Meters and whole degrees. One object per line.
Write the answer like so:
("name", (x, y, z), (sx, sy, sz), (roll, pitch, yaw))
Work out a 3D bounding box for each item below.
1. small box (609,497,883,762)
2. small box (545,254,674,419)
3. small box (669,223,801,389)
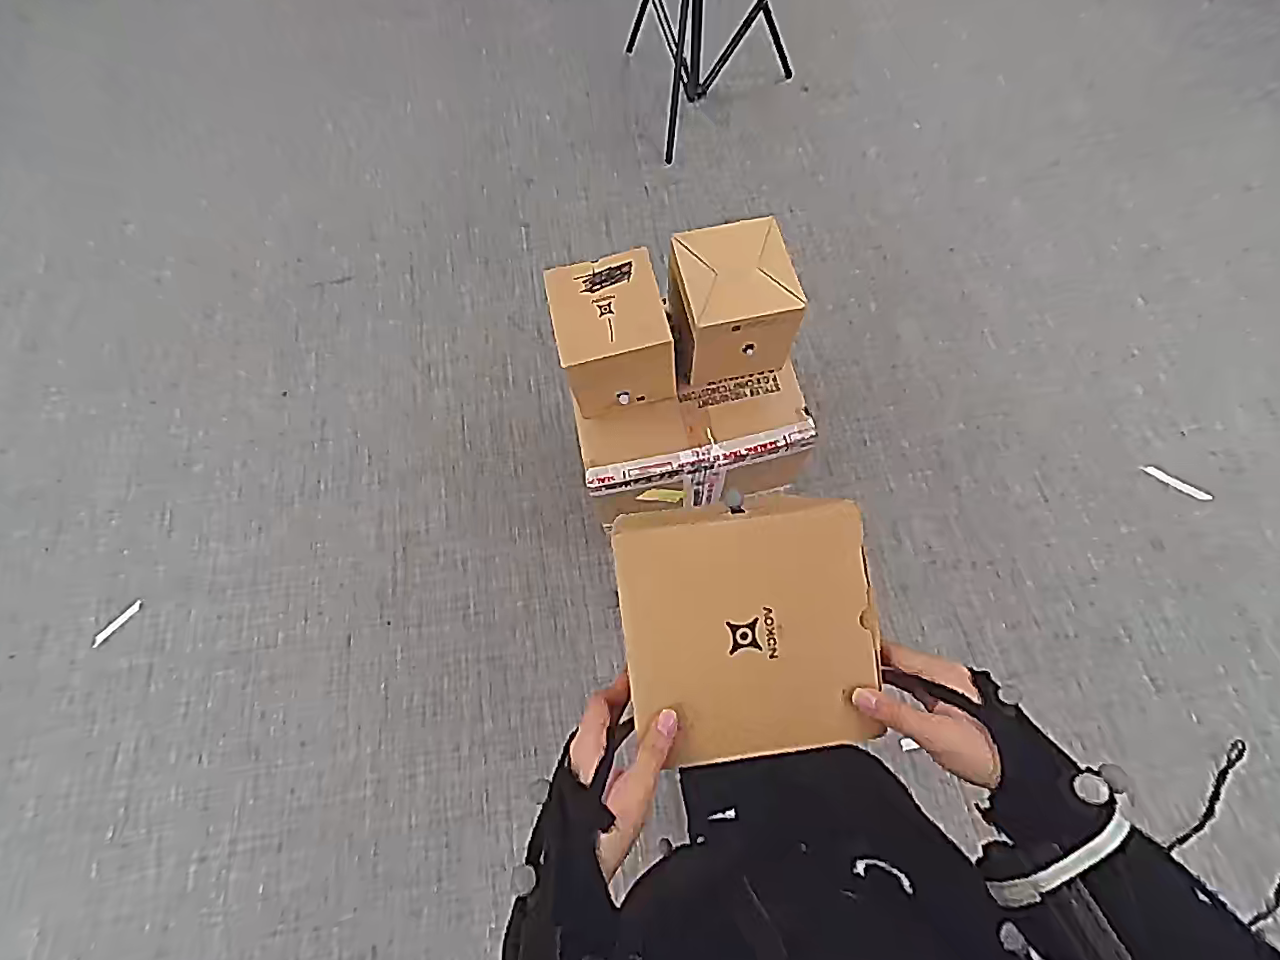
("small box", (0.071, 0.105, 0.453), (0.179, 0.176, 0.168), (-7, 89, -3))
("small box", (-0.043, -0.223, 0.870), (0.168, 0.176, 0.179), (-14, 70, 1))
("small box", (0.145, -0.277, 0.876), (0.168, 0.176, 0.179), (-11, 70, -4))
